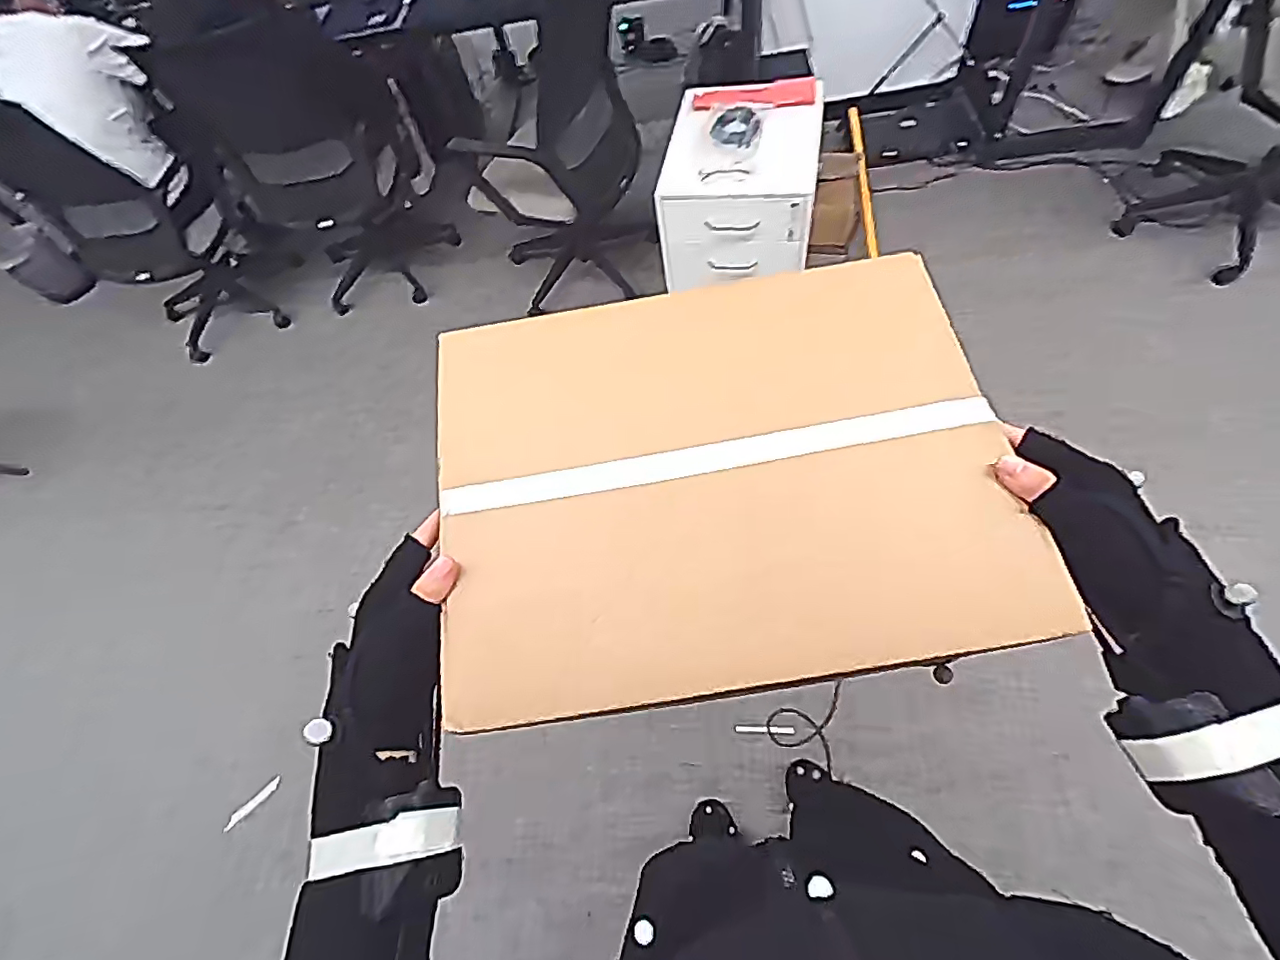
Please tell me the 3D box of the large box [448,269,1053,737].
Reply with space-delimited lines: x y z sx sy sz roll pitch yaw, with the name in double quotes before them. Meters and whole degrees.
"large box" 0.067 0.048 0.547 0.408 0.320 0.320 -10 67 1
